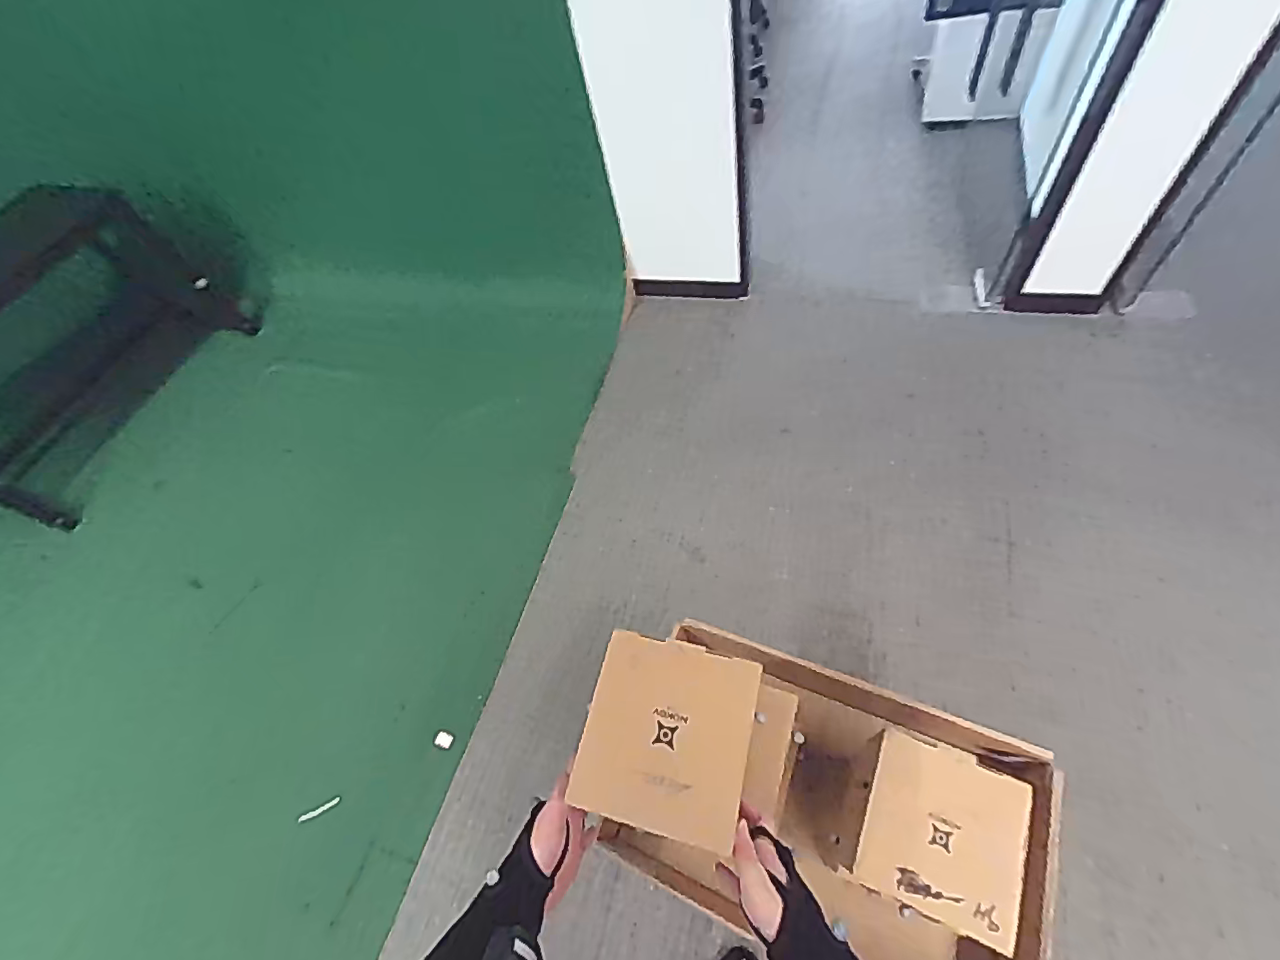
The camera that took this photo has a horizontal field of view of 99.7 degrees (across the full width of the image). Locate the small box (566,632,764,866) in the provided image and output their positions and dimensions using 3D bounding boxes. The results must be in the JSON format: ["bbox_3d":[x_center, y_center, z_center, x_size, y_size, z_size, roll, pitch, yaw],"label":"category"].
[{"bbox_3d":[0.035,0.292,0.605,0.168,0.176,0.179,10,64,13],"label":"small box"}]

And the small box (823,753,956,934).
[{"bbox_3d":[0.391,0.541,0.837,0.168,0.176,0.179,16,66,20],"label":"small box"}]

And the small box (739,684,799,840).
[{"bbox_3d":[0.123,0.388,0.785,0.168,0.176,0.179,13,63,19],"label":"small box"}]

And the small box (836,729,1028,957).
[{"bbox_3d":[0.365,0.452,0.701,0.168,0.176,0.179,18,65,21],"label":"small box"}]
